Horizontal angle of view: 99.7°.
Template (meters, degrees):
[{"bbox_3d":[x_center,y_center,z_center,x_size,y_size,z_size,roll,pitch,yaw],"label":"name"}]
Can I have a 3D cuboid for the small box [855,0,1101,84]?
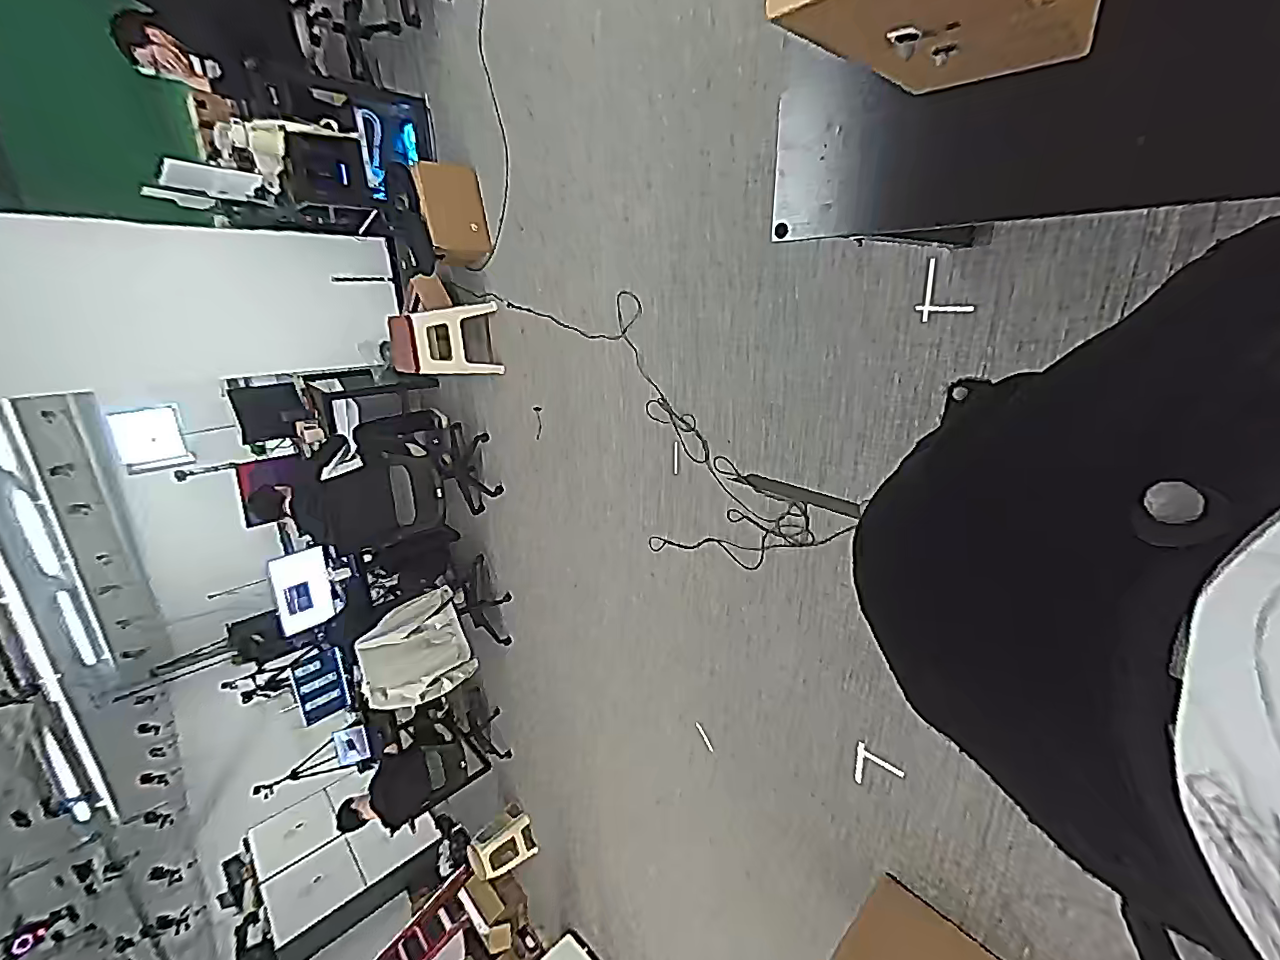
[{"bbox_3d":[0.344,-0.522,0.533,0.179,0.176,0.168,20,118,43],"label":"small box"}]

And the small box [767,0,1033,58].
[{"bbox_3d":[0.223,-0.482,0.432,0.168,0.176,0.179,20,119,45],"label":"small box"}]
